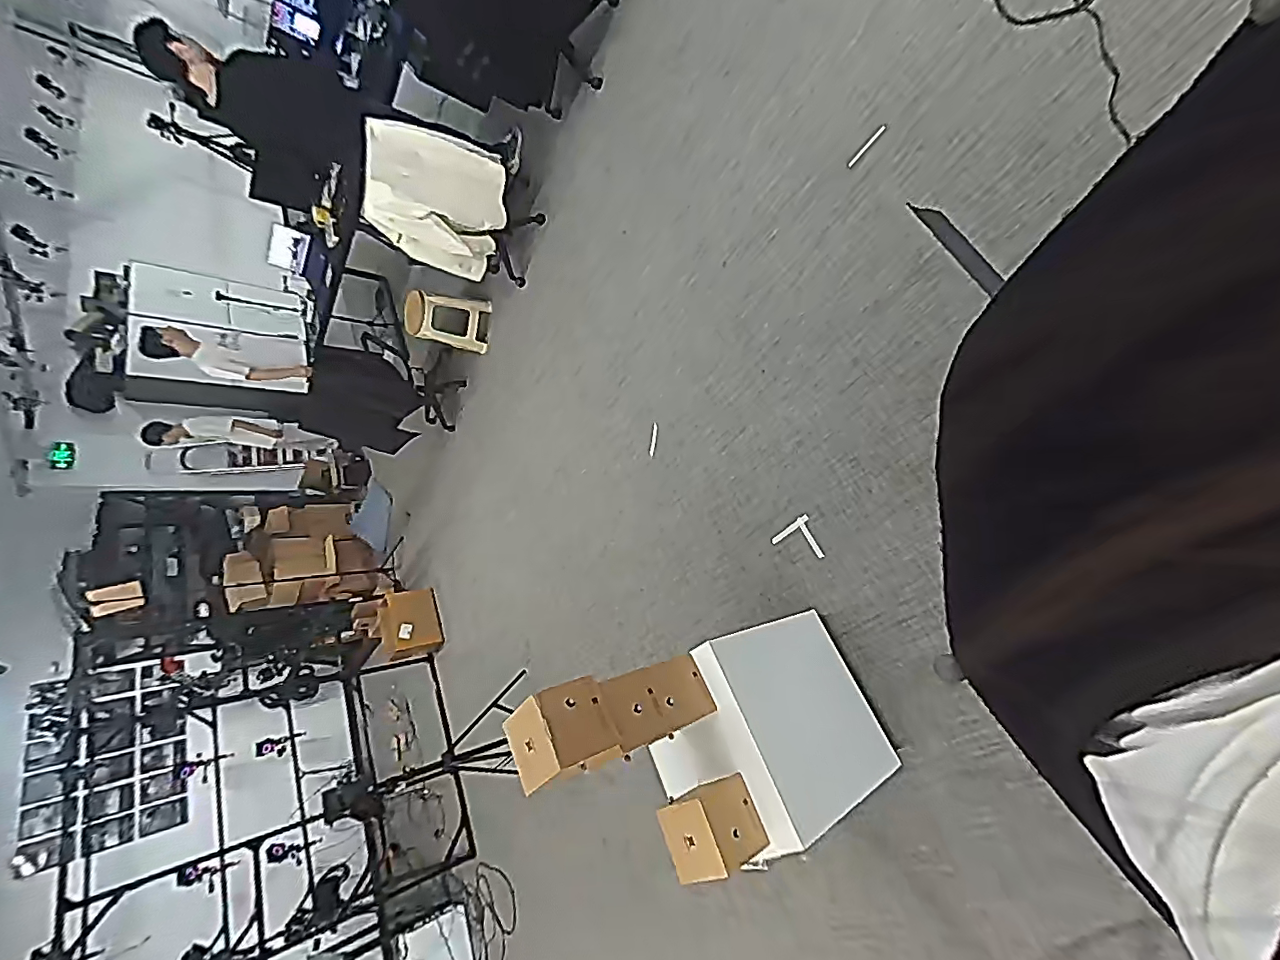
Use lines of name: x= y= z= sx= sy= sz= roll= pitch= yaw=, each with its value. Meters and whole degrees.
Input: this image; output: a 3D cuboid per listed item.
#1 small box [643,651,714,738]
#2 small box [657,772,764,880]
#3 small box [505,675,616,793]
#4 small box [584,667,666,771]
small box: x=0.065 y=0.581 z=1.445 sx=0.179 sy=0.176 sz=0.168 roll=-48 pitch=59 yaw=37
small box: x=0.178 y=0.843 z=1.328 sx=0.179 sy=0.176 sz=0.168 roll=-45 pitch=58 yaw=38
small box: x=-0.175 y=0.566 z=1.222 sx=0.179 sy=0.176 sz=0.168 roll=-52 pitch=55 yaw=34
small box: x=-0.057 y=0.583 z=1.333 sx=0.179 sy=0.176 sz=0.168 roll=-47 pitch=58 yaw=37
